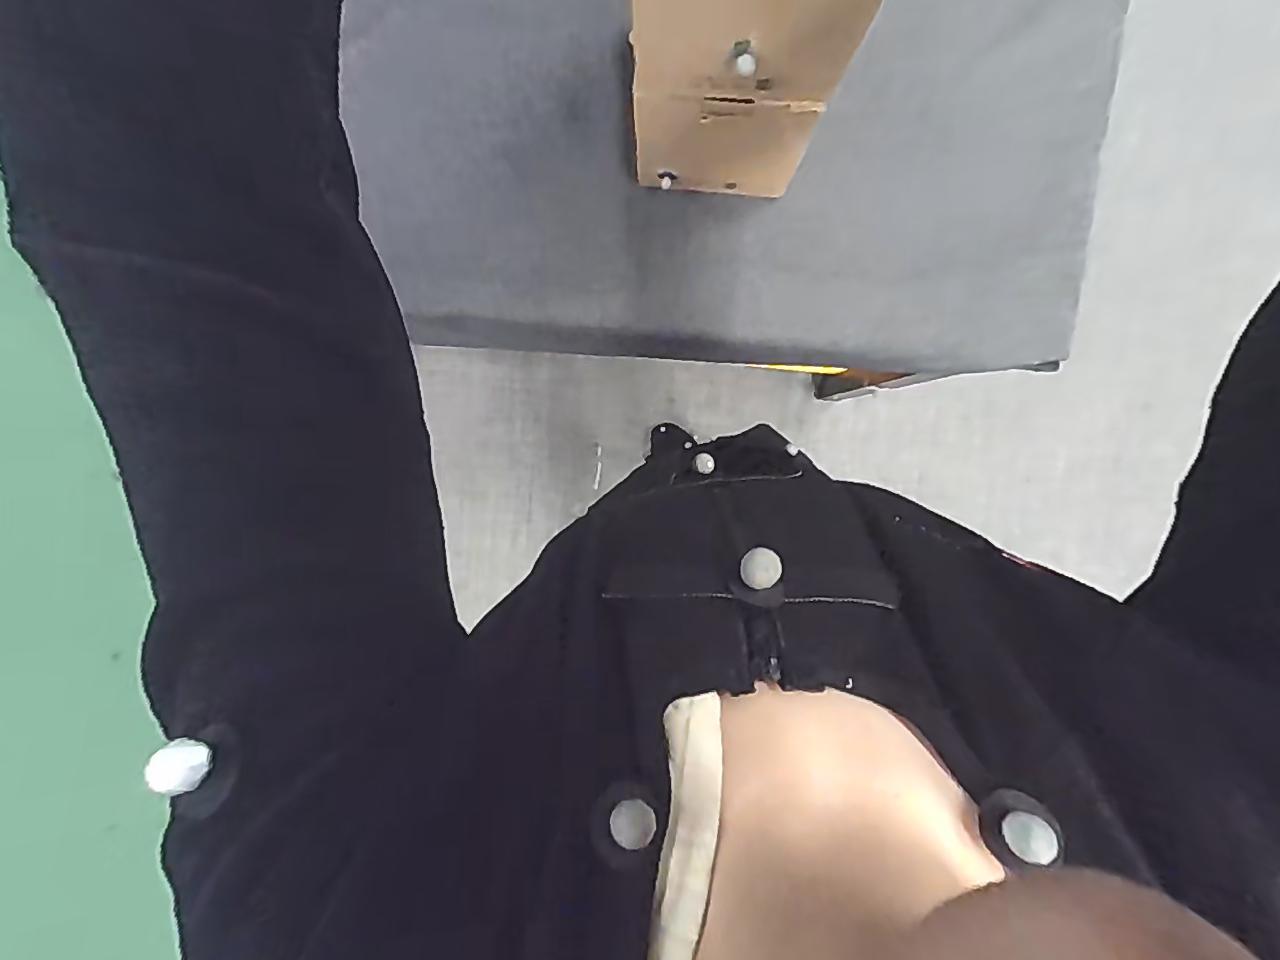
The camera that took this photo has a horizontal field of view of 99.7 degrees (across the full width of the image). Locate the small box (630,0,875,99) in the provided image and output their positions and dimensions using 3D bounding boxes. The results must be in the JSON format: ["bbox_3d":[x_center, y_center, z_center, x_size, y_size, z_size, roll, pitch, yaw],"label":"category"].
[{"bbox_3d":[0.079,-0.401,0.361,0.168,0.176,0.179,4,95,2],"label":"small box"}]

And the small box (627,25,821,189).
[{"bbox_3d":[0.082,-0.411,0.525,0.168,0.176,0.179,6,94,1],"label":"small box"}]
